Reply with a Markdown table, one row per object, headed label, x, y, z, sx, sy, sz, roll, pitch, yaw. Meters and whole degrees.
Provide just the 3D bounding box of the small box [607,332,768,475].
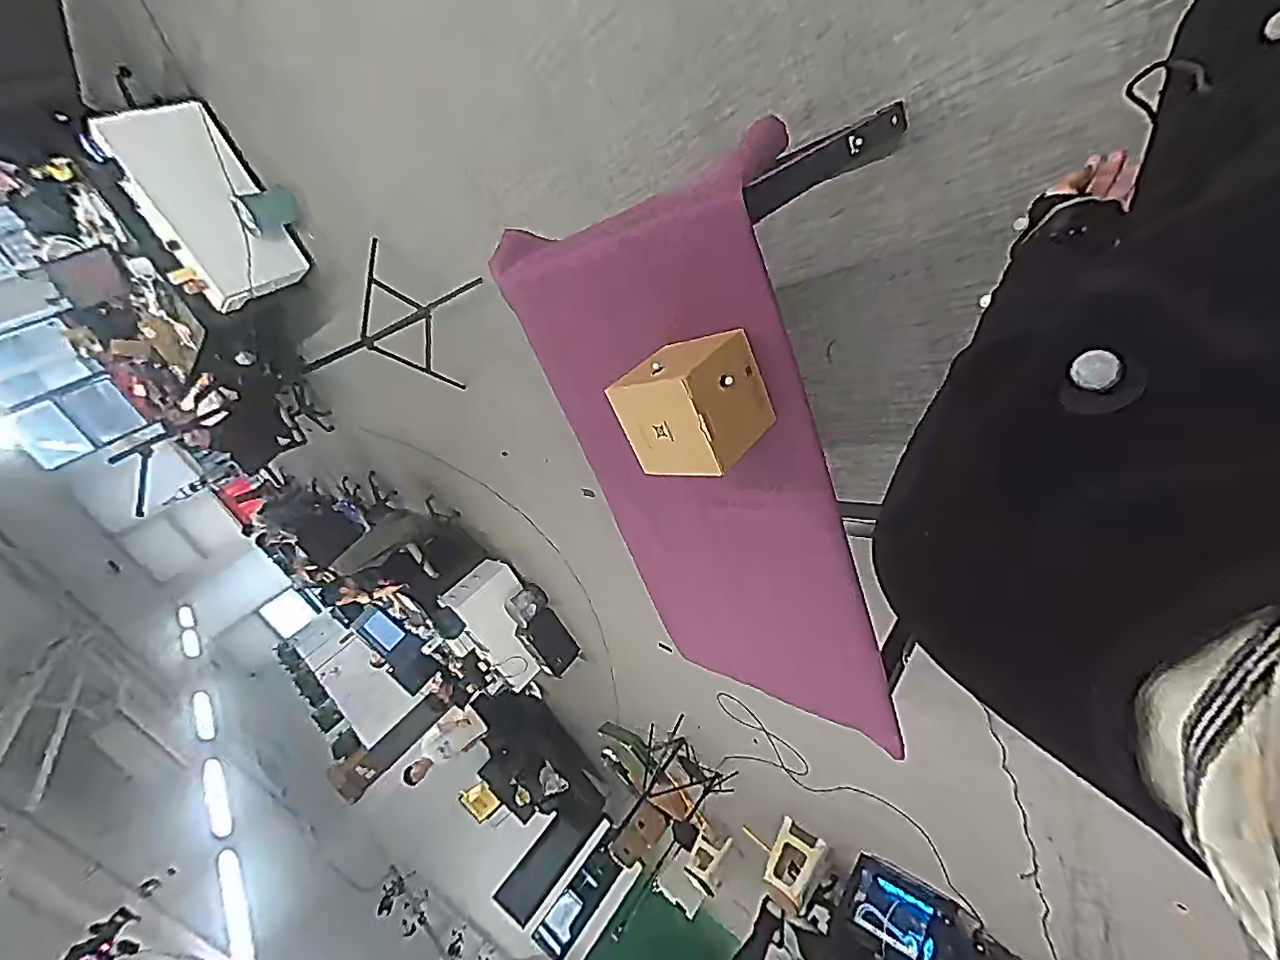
| label | x | y | z | sx | sy | sz | roll | pitch | yaw |
| --- | --- | --- | --- | --- | --- | --- | --- | --- | --- |
| small box | 0.086 | -0.122 | 0.876 | 0.179 | 0.176 | 0.168 | 2 | 127 | 49 |
